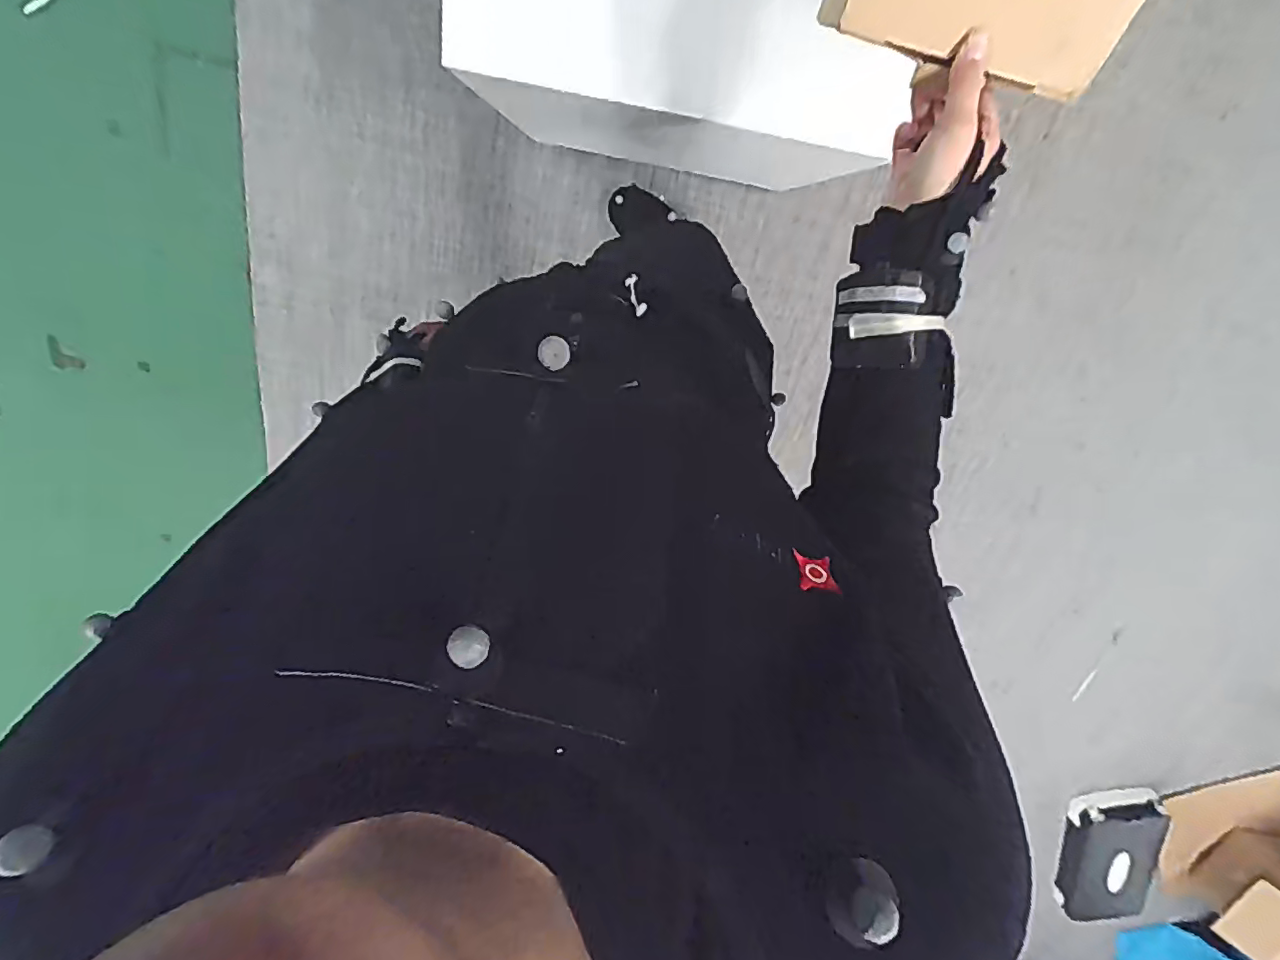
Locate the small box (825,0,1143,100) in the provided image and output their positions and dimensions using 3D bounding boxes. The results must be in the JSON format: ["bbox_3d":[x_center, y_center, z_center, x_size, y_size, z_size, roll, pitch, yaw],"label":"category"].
[{"bbox_3d":[0.233,-0.378,0.346,0.168,0.176,0.179,14,132,-2],"label":"small box"}]
